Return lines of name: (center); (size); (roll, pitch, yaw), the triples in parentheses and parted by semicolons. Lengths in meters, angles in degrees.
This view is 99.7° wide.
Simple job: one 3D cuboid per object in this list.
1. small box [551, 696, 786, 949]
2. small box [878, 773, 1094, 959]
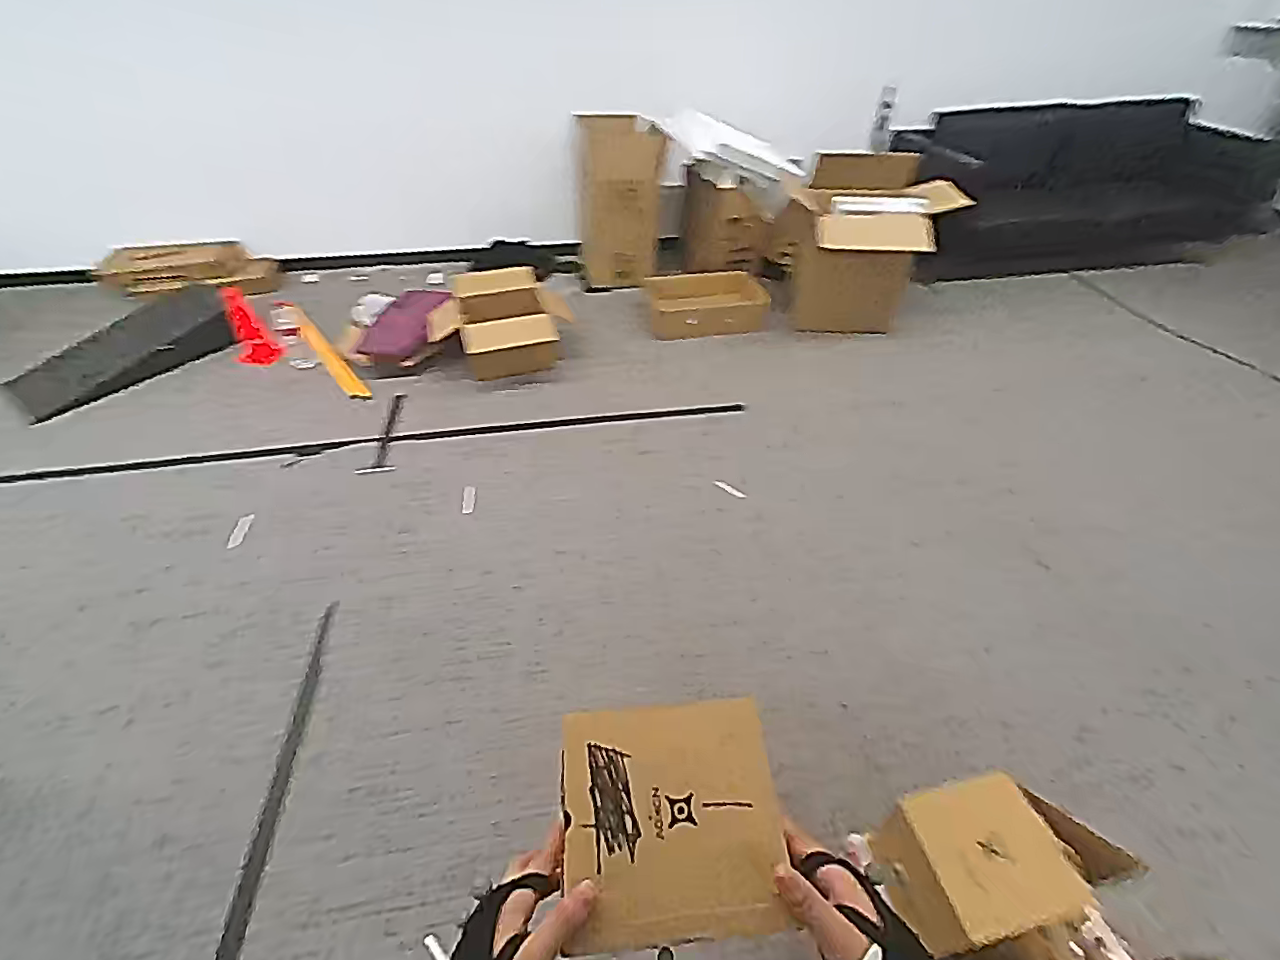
small box: (0.015, 0.319, 0.502); (0.179, 0.176, 0.168); (-4, 50, -5)
small box: (0.477, 0.556, 0.780); (0.179, 0.176, 0.168); (-12, 43, -6)
